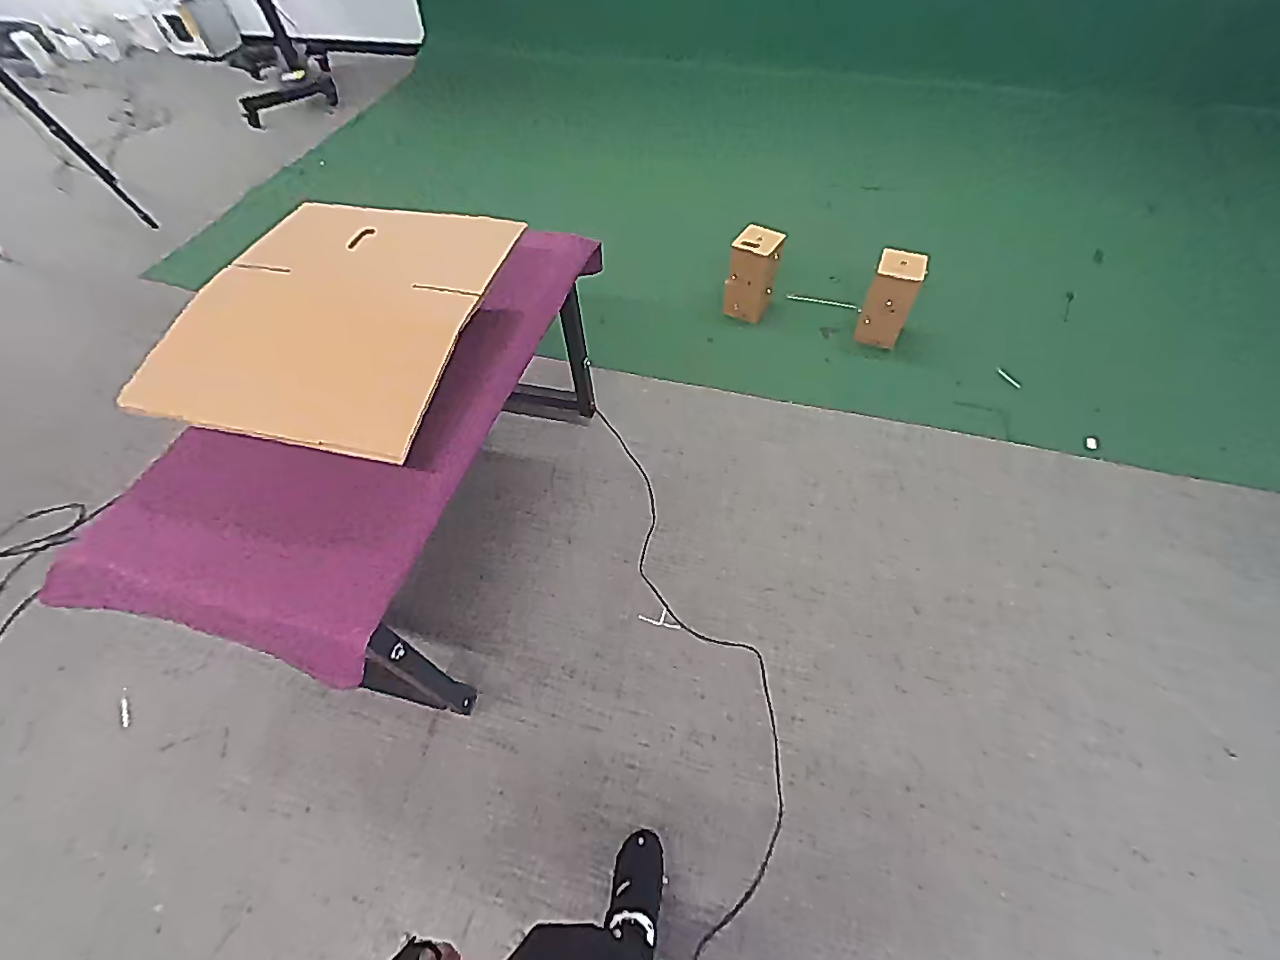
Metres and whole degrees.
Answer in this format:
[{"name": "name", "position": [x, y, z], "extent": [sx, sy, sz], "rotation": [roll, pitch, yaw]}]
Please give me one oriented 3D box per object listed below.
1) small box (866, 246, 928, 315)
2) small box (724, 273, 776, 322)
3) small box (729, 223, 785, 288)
[{"name": "small box", "position": [1.001, -0.781, 2.116], "extent": [0.168, 0.176, 0.179], "rotation": [18, 58, 15]}, {"name": "small box", "position": [0.481, -0.835, 2.385], "extent": [0.168, 0.176, 0.179], "rotation": [26, 62, 19]}, {"name": "small box", "position": [0.483, -0.932, 2.252], "extent": [0.168, 0.176, 0.179], "rotation": [28, 61, 20]}]
